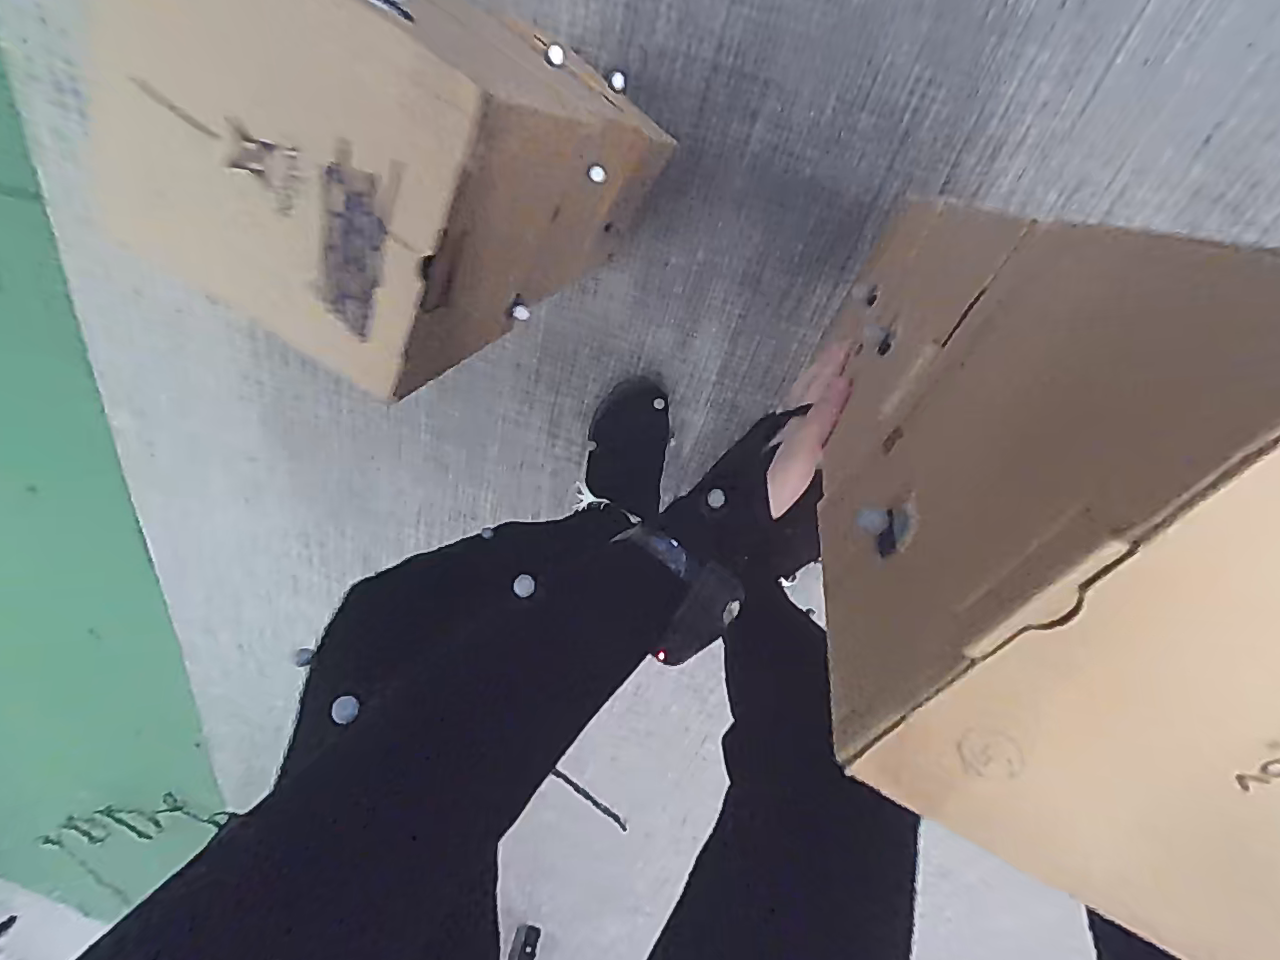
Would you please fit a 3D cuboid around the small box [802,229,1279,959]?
[{"bbox_3d":[0.172,0.039,0.173,0.179,0.176,0.168,31,123,-1],"label":"small box"}]

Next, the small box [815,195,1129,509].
[{"bbox_3d":[0.220,-0.040,0.308,0.179,0.176,0.168,28,123,3],"label":"small box"}]

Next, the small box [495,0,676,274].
[{"bbox_3d":[-0.080,-0.356,0.579,0.168,0.176,0.179,39,121,-10],"label":"small box"}]

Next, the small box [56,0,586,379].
[{"bbox_3d":[-0.155,-0.193,0.304,0.179,0.176,0.168,34,122,-5],"label":"small box"}]
